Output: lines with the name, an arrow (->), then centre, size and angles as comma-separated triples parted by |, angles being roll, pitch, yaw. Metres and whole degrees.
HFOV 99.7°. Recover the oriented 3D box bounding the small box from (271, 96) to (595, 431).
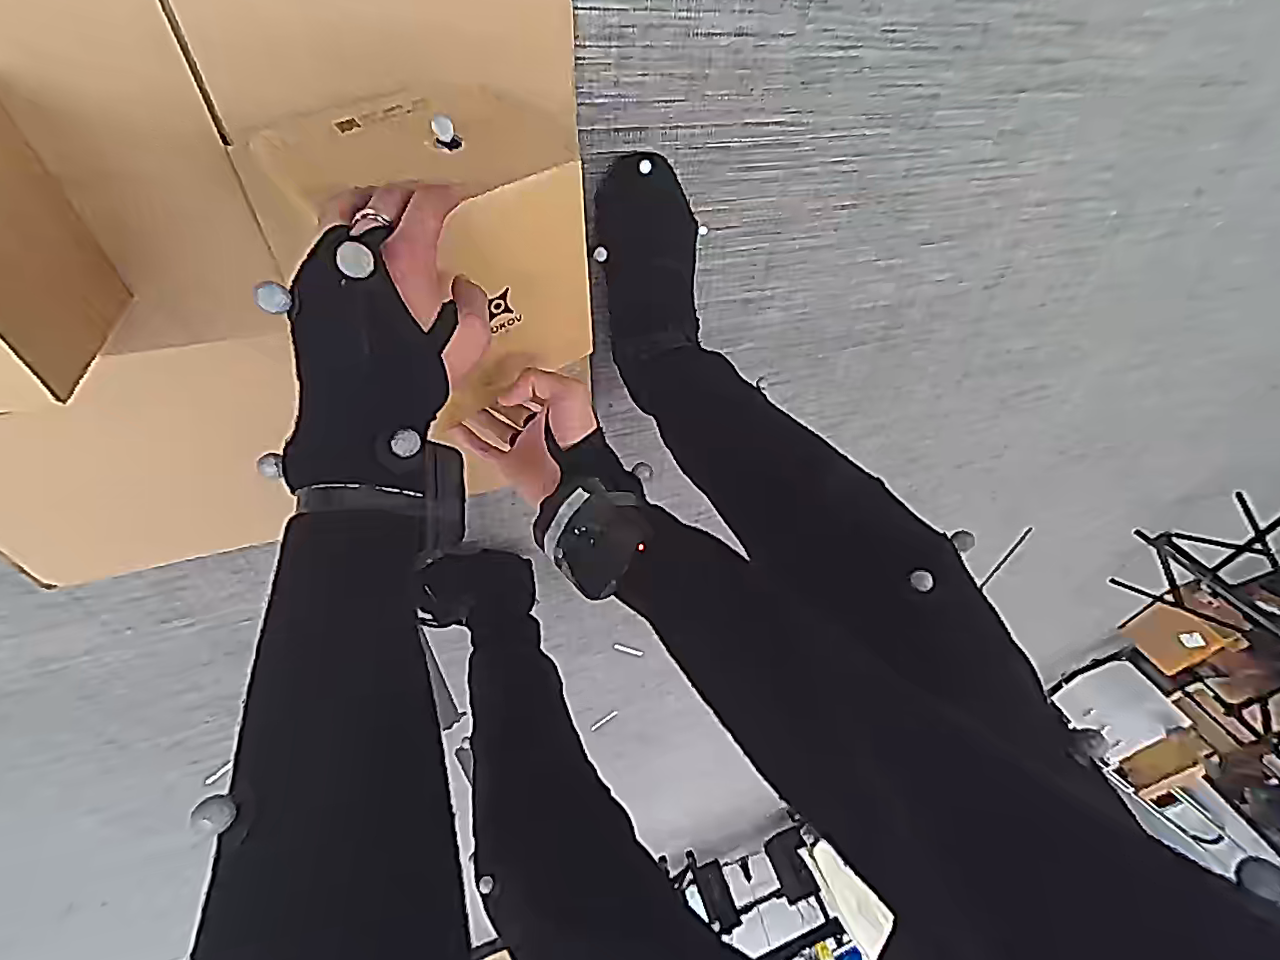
small box -> -0.155, -0.180, 0.440 | 0.168, 0.176, 0.179 | -32, 153, -21
